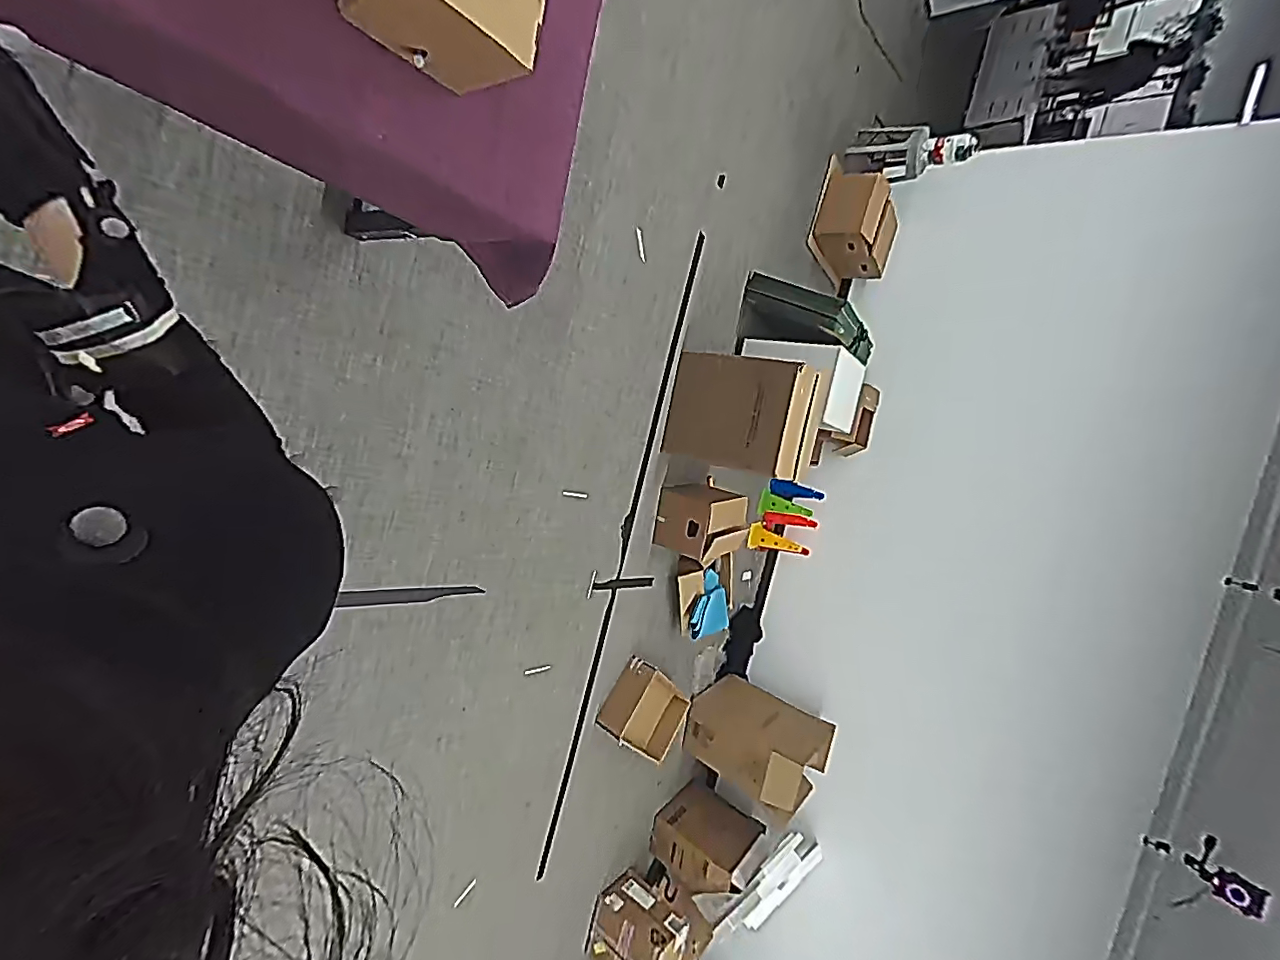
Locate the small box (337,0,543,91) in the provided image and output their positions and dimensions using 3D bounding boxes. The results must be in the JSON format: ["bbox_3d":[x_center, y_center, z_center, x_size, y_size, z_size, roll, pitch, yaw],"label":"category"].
[{"bbox_3d":[-0.242,-0.624,0.675,0.179,0.176,0.168,1,102,-55],"label":"small box"}]
